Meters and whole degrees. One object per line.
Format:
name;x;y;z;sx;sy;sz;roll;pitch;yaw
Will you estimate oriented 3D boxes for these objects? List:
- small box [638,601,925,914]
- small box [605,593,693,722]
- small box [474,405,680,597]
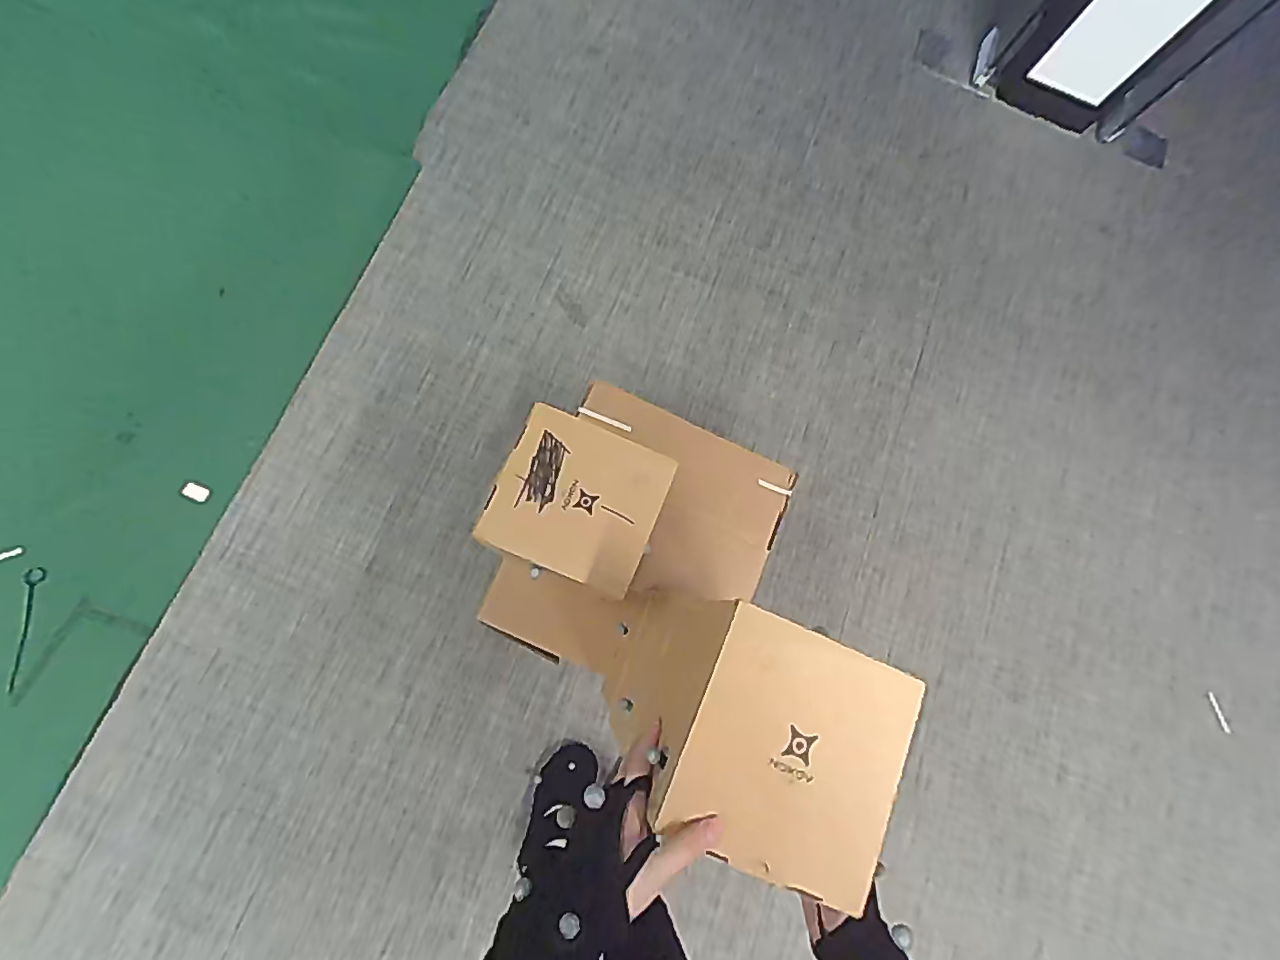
small box;0.108;0.217;0.479;0.168;0.176;0.179;24;77;-3
small box;0.061;0.272;0.796;0.179;0.176;0.168;22;75;-3
small box;-0.073;0.038;0.657;0.179;0.176;0.168;22;76;-2
